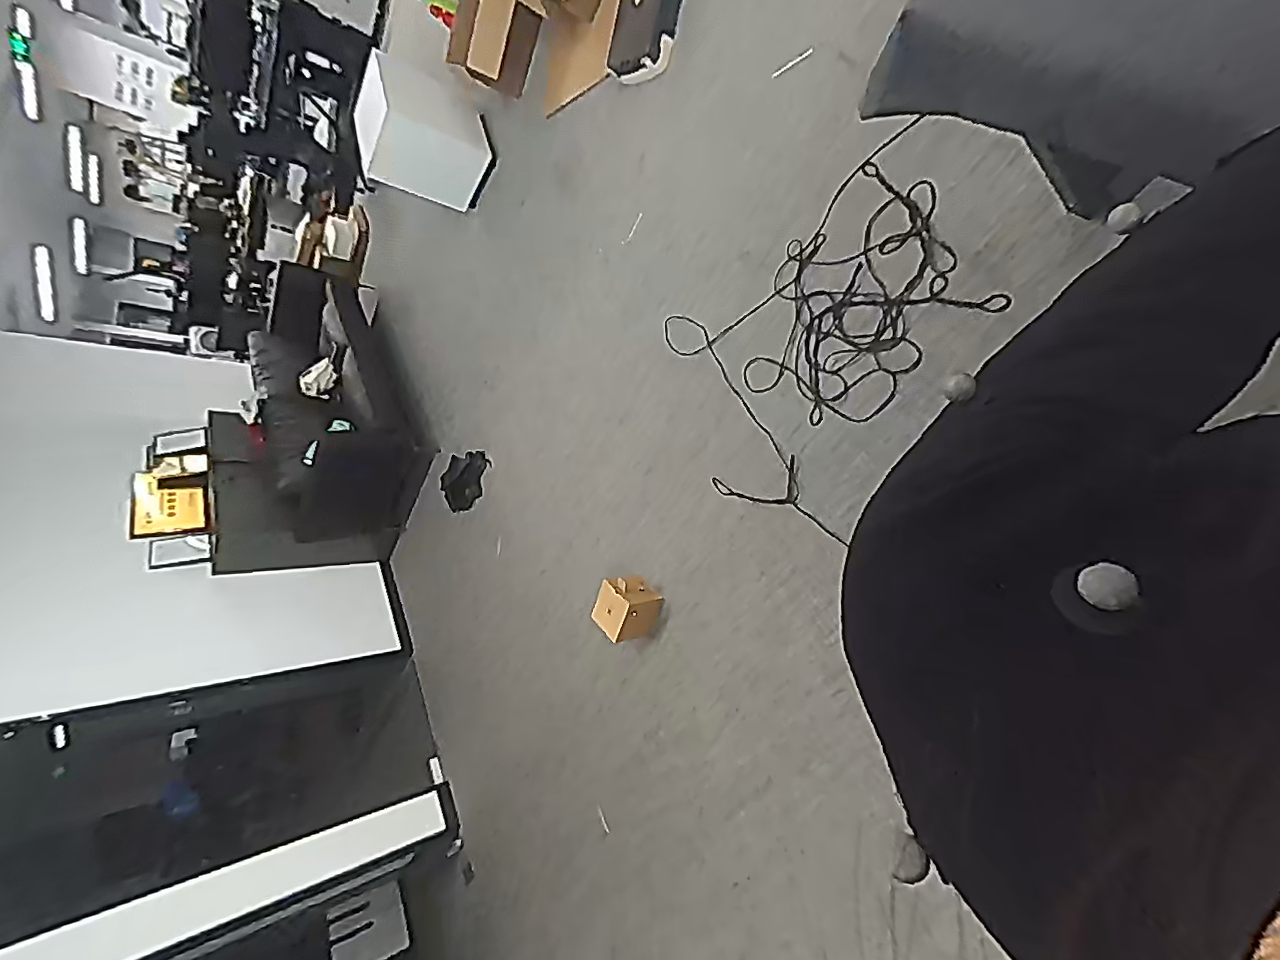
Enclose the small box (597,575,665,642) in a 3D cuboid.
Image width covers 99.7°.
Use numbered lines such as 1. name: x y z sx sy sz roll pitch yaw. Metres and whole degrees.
1. small box: -0.031 0.472 2.016 0.168 0.176 0.179 36 114 43
